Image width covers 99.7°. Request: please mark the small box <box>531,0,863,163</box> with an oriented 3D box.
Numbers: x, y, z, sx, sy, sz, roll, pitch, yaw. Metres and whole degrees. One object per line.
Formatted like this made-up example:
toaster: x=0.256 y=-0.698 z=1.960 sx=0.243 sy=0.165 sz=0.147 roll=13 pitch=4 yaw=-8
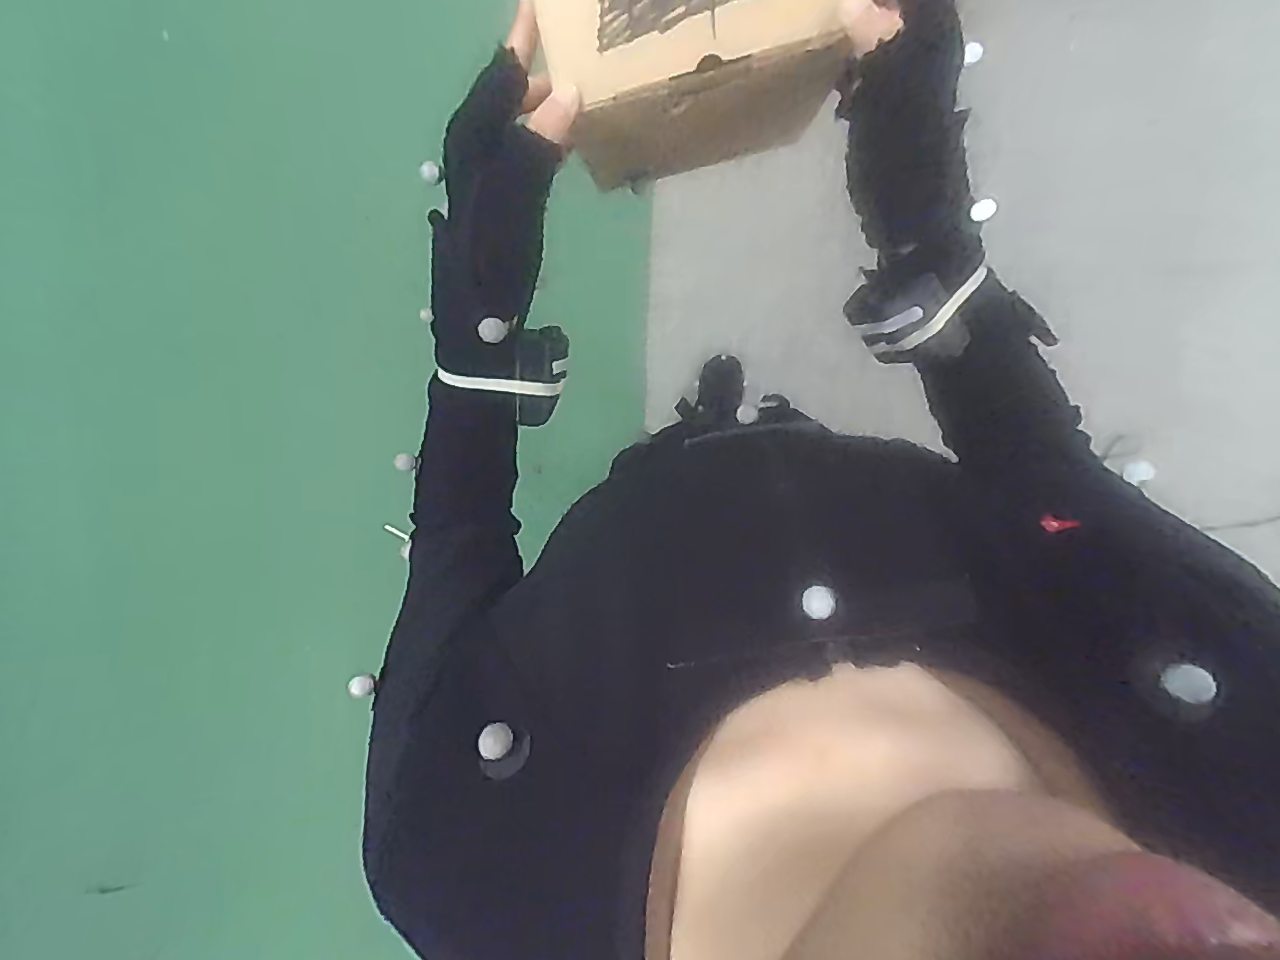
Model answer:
small box: x=0.023 y=-0.320 z=0.330 sx=0.168 sy=0.176 sz=0.179 roll=-11 pitch=103 yaw=7
